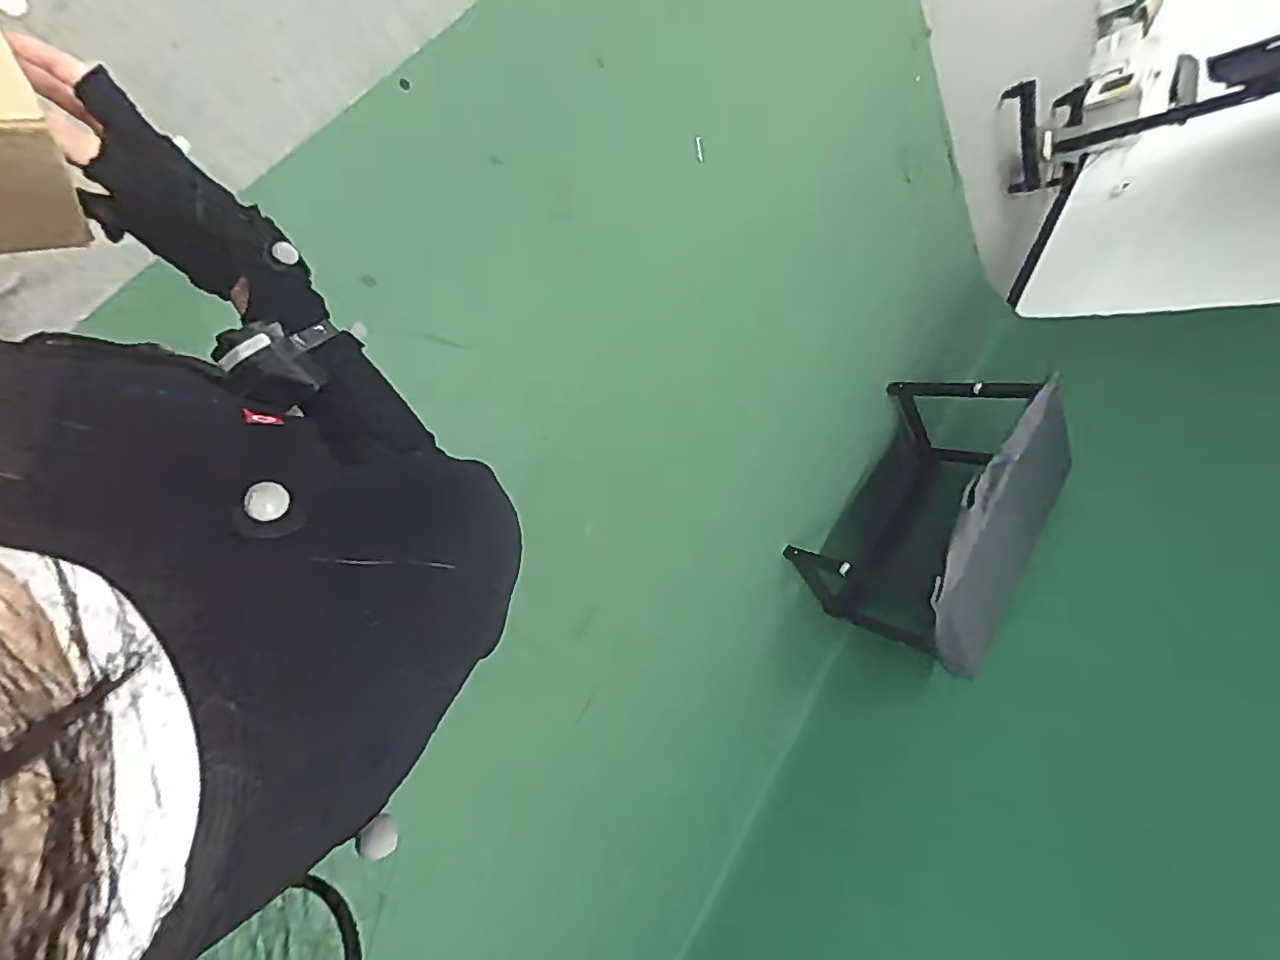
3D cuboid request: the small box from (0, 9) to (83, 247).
[{"bbox_3d":[-0.421,-0.223,0.256,0.168,0.176,0.179,-30,109,-37],"label":"small box"}]
